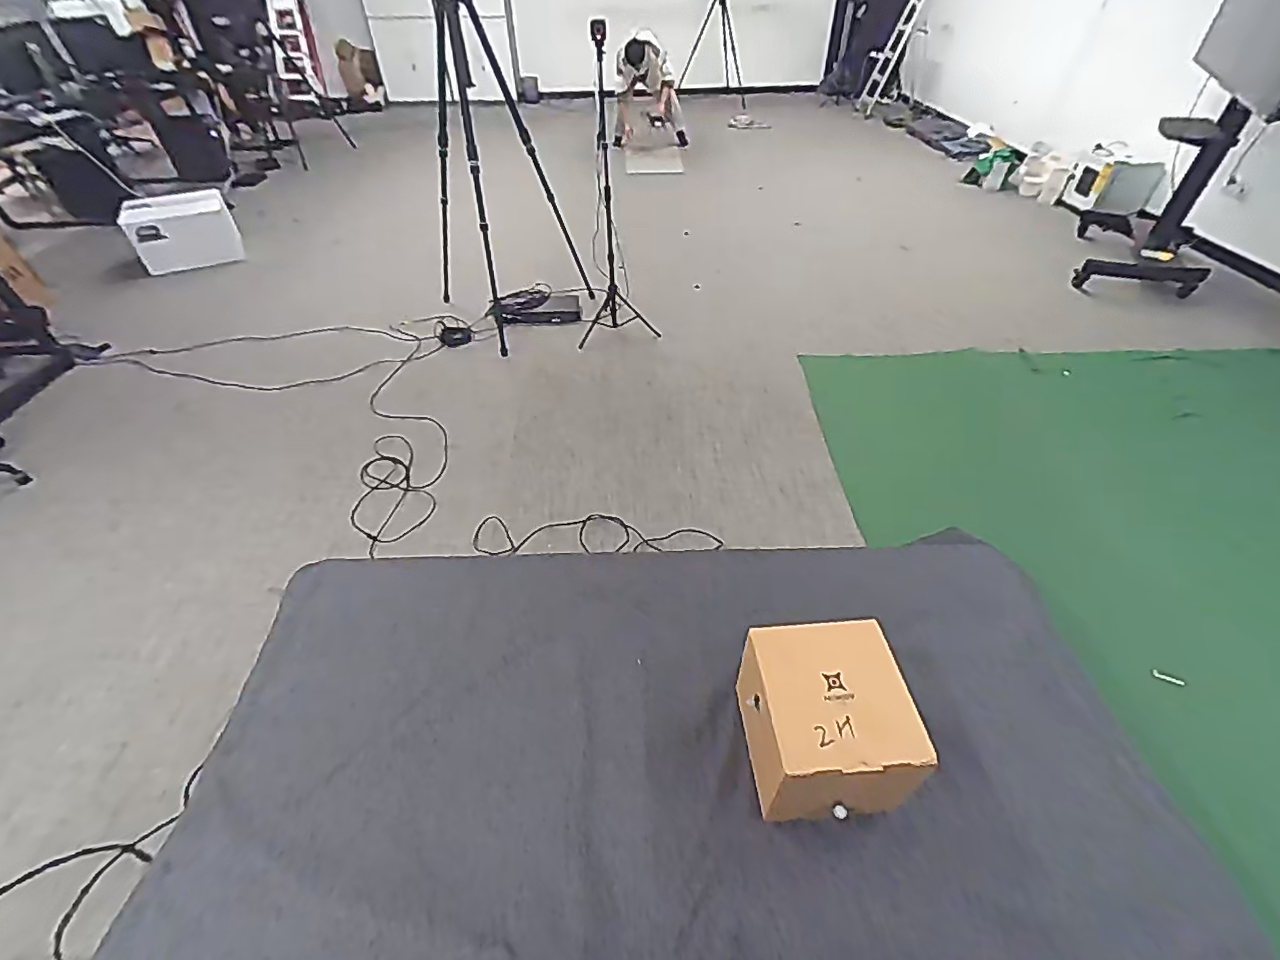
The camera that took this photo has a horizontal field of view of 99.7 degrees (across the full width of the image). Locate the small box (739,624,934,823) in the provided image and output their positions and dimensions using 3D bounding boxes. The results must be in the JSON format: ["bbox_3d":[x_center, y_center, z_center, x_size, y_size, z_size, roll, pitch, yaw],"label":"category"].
[{"bbox_3d":[0.227,0.306,0.685,0.168,0.176,0.179,-4,43,-1],"label":"small box"}]
